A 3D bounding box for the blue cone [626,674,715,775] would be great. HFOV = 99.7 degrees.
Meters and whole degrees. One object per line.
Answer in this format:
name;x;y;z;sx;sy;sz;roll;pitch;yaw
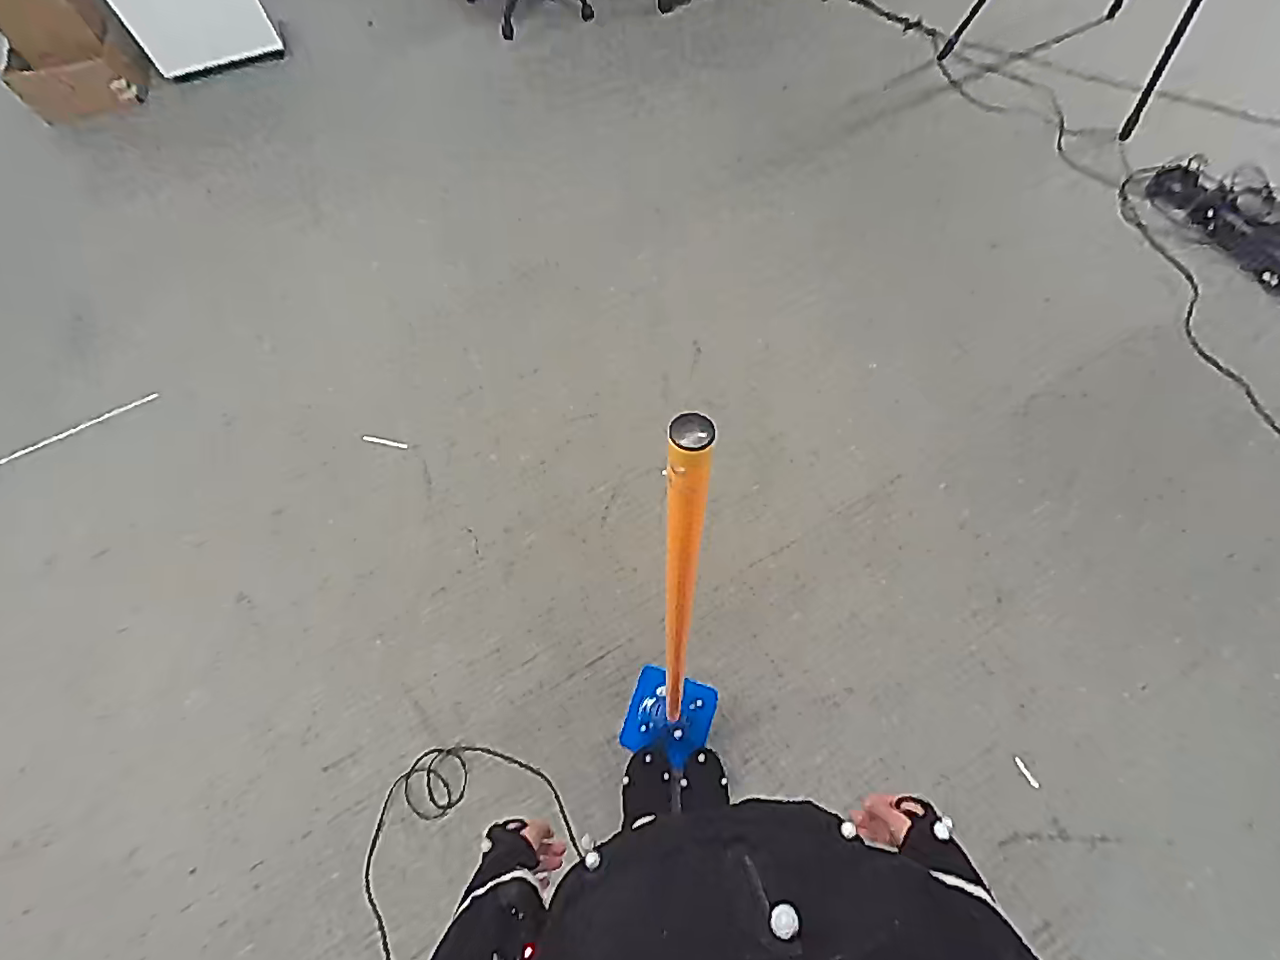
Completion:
blue cone;0.069;0.503;1.131;0.192;0.380;0.193;16;66;8
